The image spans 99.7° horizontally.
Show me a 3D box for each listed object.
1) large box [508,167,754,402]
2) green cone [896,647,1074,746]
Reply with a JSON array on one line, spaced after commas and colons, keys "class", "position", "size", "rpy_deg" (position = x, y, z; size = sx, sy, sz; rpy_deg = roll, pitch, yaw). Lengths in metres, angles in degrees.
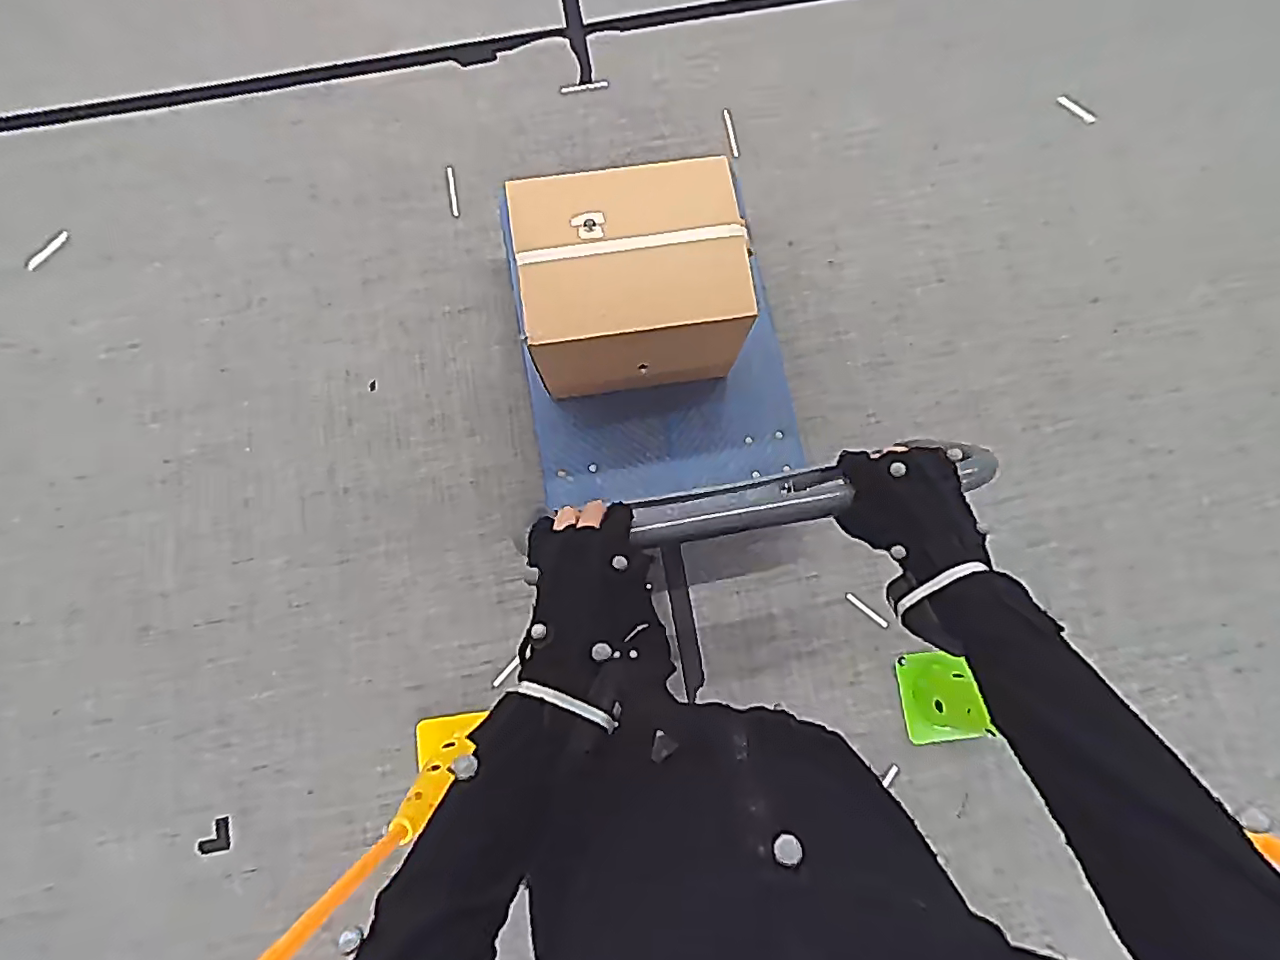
[{"class": "large box", "position": [-0.019, -0.372, 1.105], "size": [0.408, 0.320, 0.320], "rpy_deg": [-9, 81, -2]}, {"class": "green cone", "position": [0.724, 0.478, 1.112], "size": [0.202, 0.368, 0.200], "rpy_deg": [-6, 80, -3]}]
